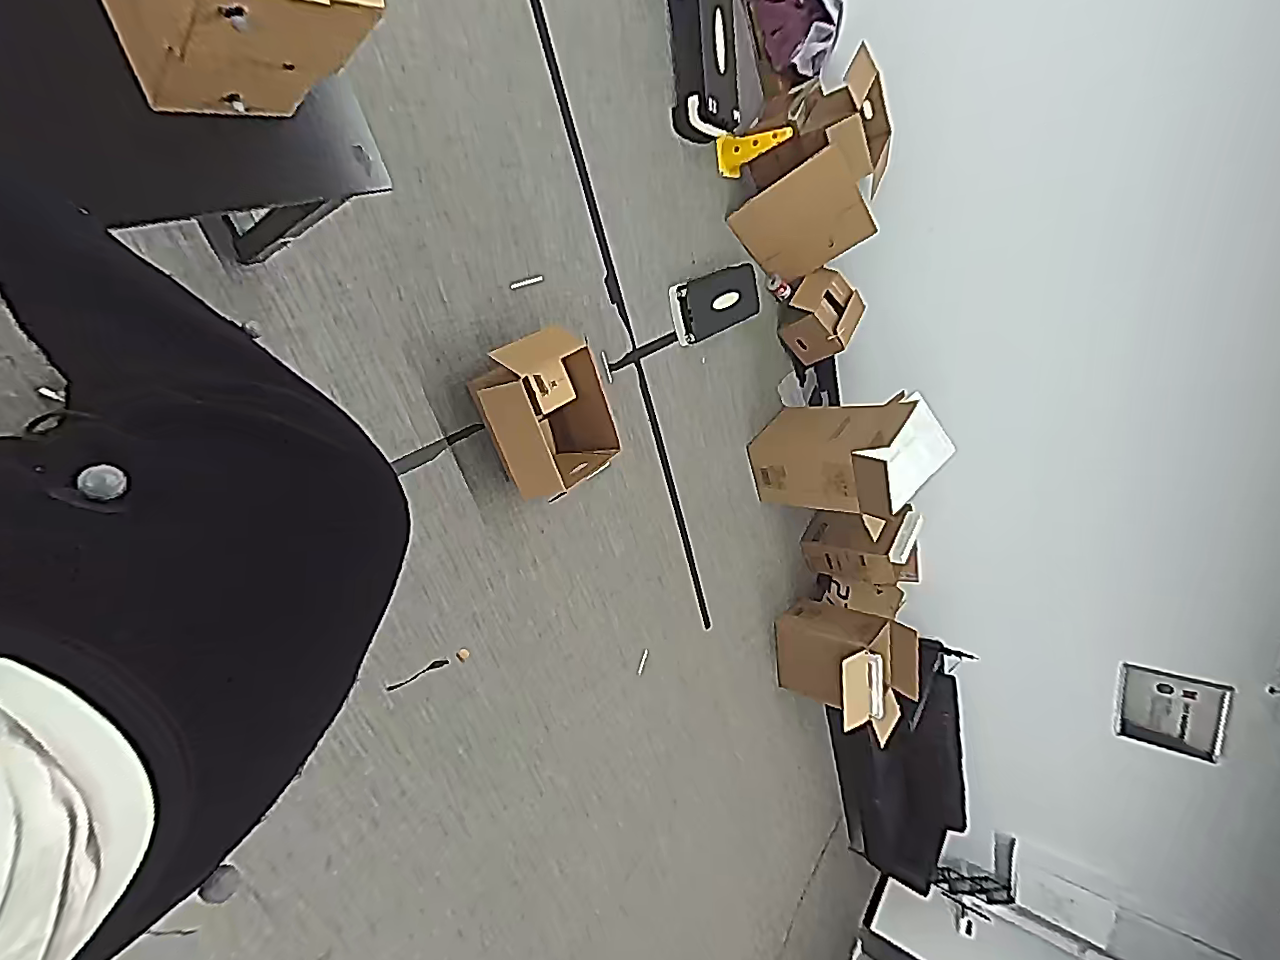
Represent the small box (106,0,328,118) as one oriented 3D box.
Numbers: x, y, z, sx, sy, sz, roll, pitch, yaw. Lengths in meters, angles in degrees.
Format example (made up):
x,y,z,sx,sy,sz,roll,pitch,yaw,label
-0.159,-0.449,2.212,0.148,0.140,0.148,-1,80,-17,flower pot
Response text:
x,y,z,sx,sy,sz,roll,pitch,yaw,label
-0.519,-0.569,0.649,0.168,0.176,0.179,-31,117,-41,small box
